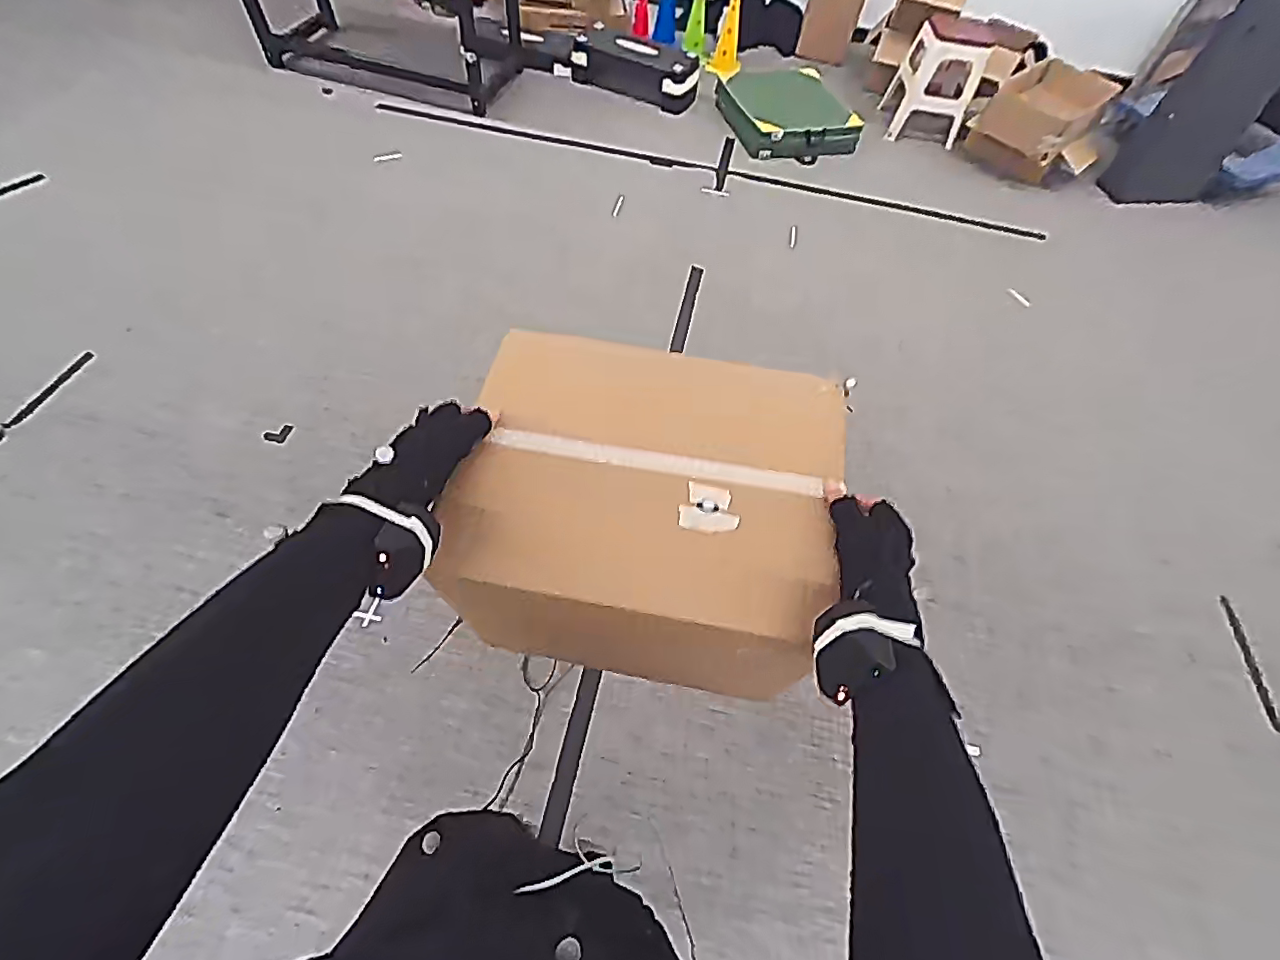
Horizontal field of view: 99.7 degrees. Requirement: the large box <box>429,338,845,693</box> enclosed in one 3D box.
[{"bbox_3d":[0.012,0.059,0.705,0.408,0.320,0.320,10,61,4],"label":"large box"}]
